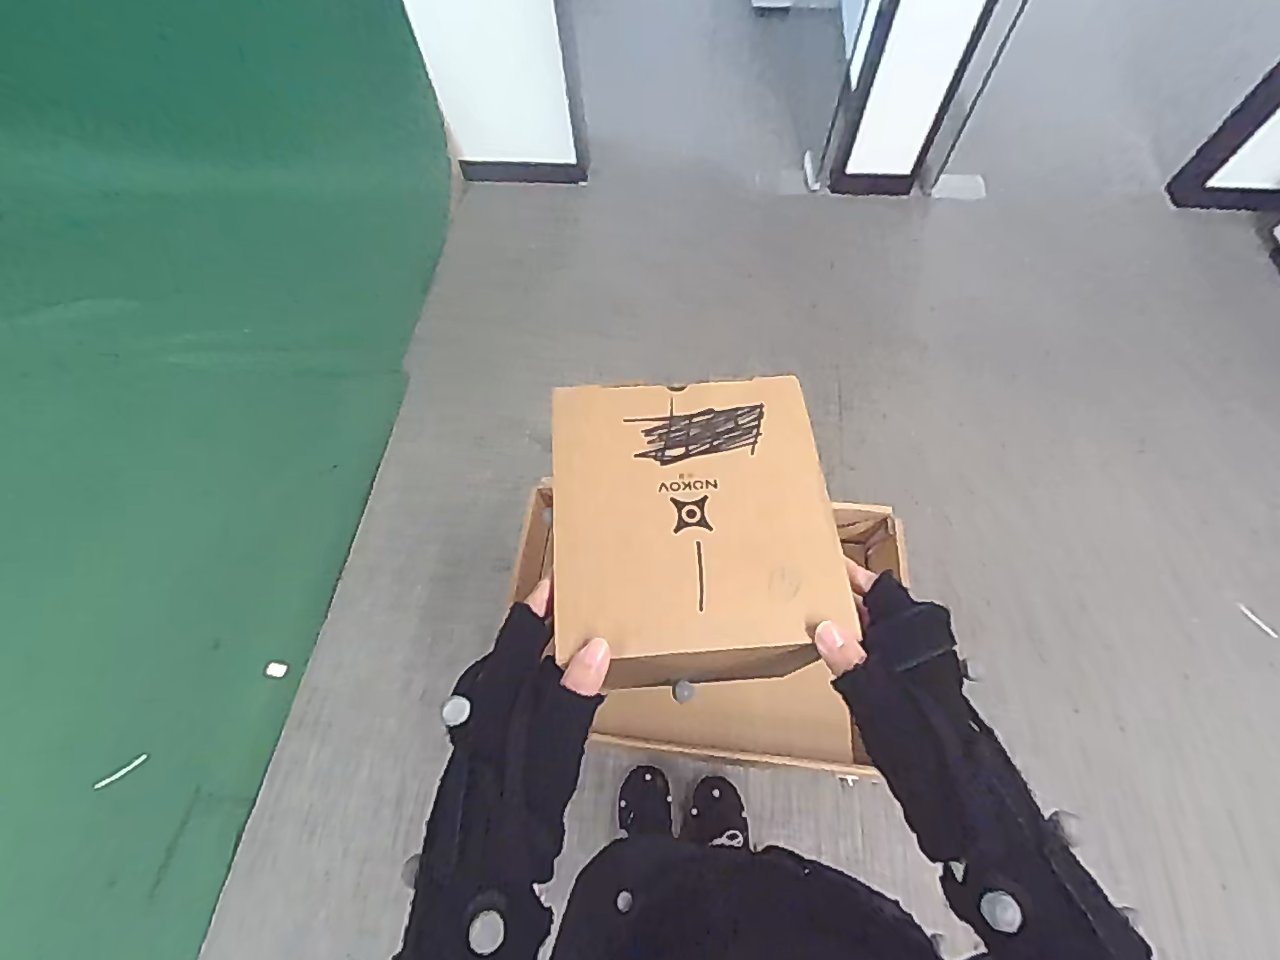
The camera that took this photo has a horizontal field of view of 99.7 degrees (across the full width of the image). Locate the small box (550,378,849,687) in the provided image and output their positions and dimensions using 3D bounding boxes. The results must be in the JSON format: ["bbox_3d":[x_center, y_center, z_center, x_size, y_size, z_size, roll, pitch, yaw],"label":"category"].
[{"bbox_3d":[0.027,0.047,0.399,0.168,0.176,0.179,-4,64,-2],"label":"small box"}]
